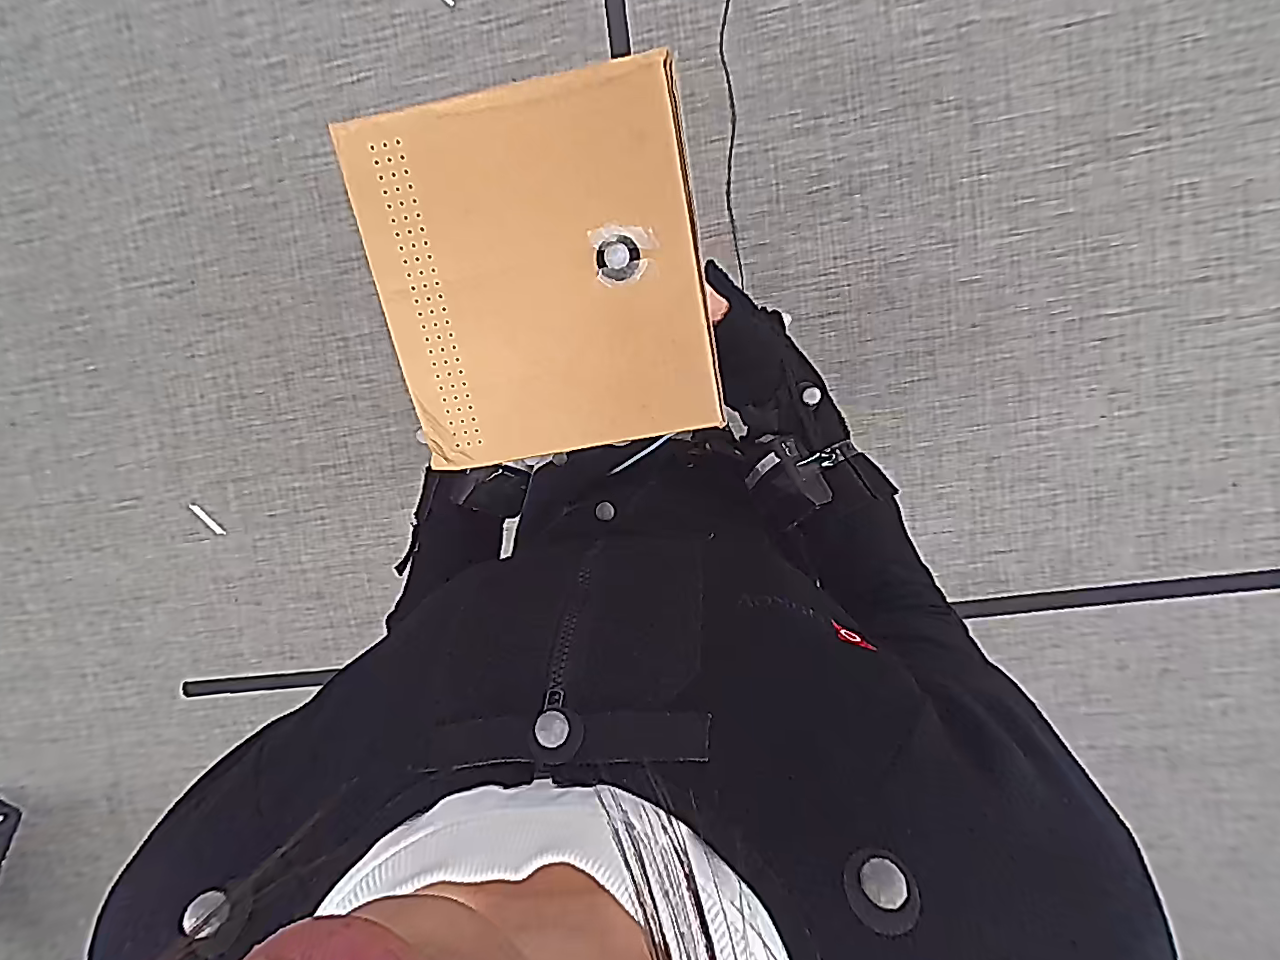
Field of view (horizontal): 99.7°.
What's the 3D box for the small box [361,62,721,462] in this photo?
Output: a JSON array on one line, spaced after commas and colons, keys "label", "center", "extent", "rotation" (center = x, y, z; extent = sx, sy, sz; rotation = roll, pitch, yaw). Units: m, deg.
[{"label": "small box", "center": [-0.050, -0.125, 0.360], "extent": [0.176, 0.168, 0.179], "rotation": [-9, 106, 6]}]
